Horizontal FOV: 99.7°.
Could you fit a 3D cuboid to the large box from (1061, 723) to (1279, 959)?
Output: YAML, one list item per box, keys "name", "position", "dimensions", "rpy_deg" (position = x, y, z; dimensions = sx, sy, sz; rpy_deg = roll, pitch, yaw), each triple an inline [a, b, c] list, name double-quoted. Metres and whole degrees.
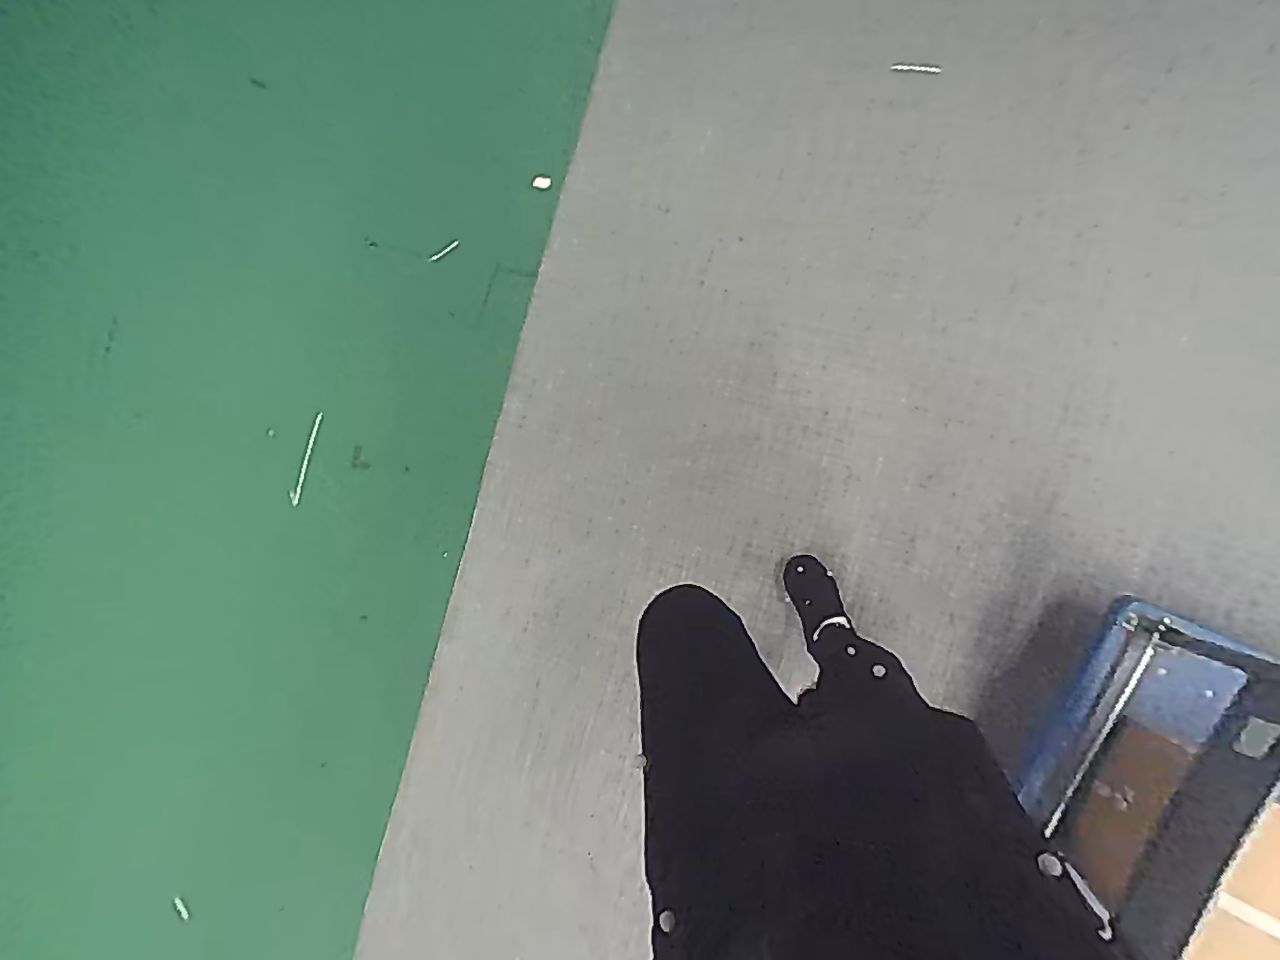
- name: "large box"
  position: [1.028, 0.677, 0.876]
  dimensions: [0.408, 0.320, 0.320]
  rpy_deg: [26, 94, 14]
